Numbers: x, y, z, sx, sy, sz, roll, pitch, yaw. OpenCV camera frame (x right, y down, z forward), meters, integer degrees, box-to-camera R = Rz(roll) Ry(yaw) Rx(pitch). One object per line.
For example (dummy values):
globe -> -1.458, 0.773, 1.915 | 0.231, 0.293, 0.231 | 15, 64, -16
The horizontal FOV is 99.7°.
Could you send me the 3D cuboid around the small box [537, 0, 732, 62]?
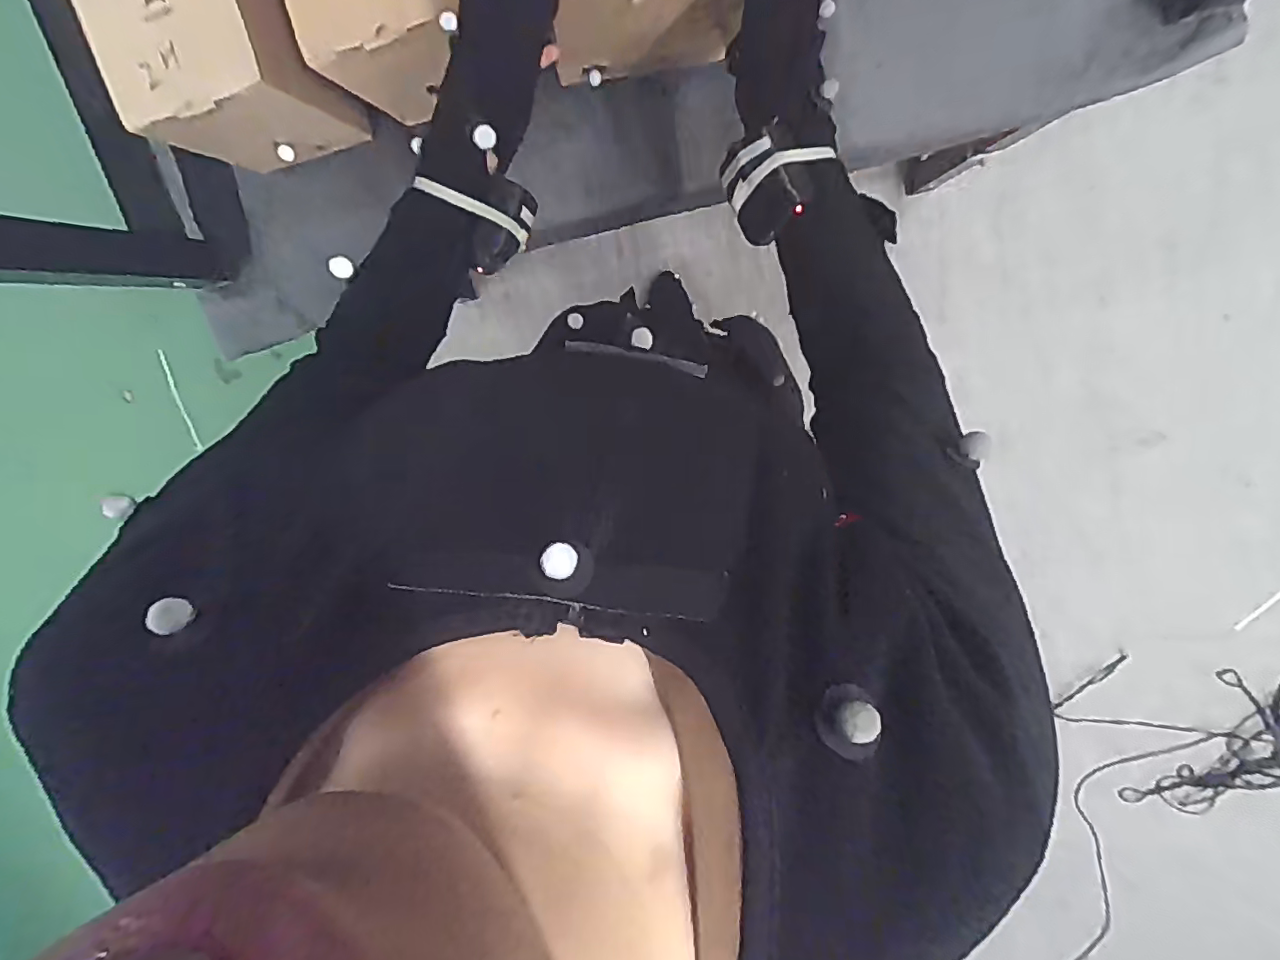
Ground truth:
small box -> -0.010, -0.463, 0.421 | 0.168, 0.176, 0.179 | -11, 107, -3
